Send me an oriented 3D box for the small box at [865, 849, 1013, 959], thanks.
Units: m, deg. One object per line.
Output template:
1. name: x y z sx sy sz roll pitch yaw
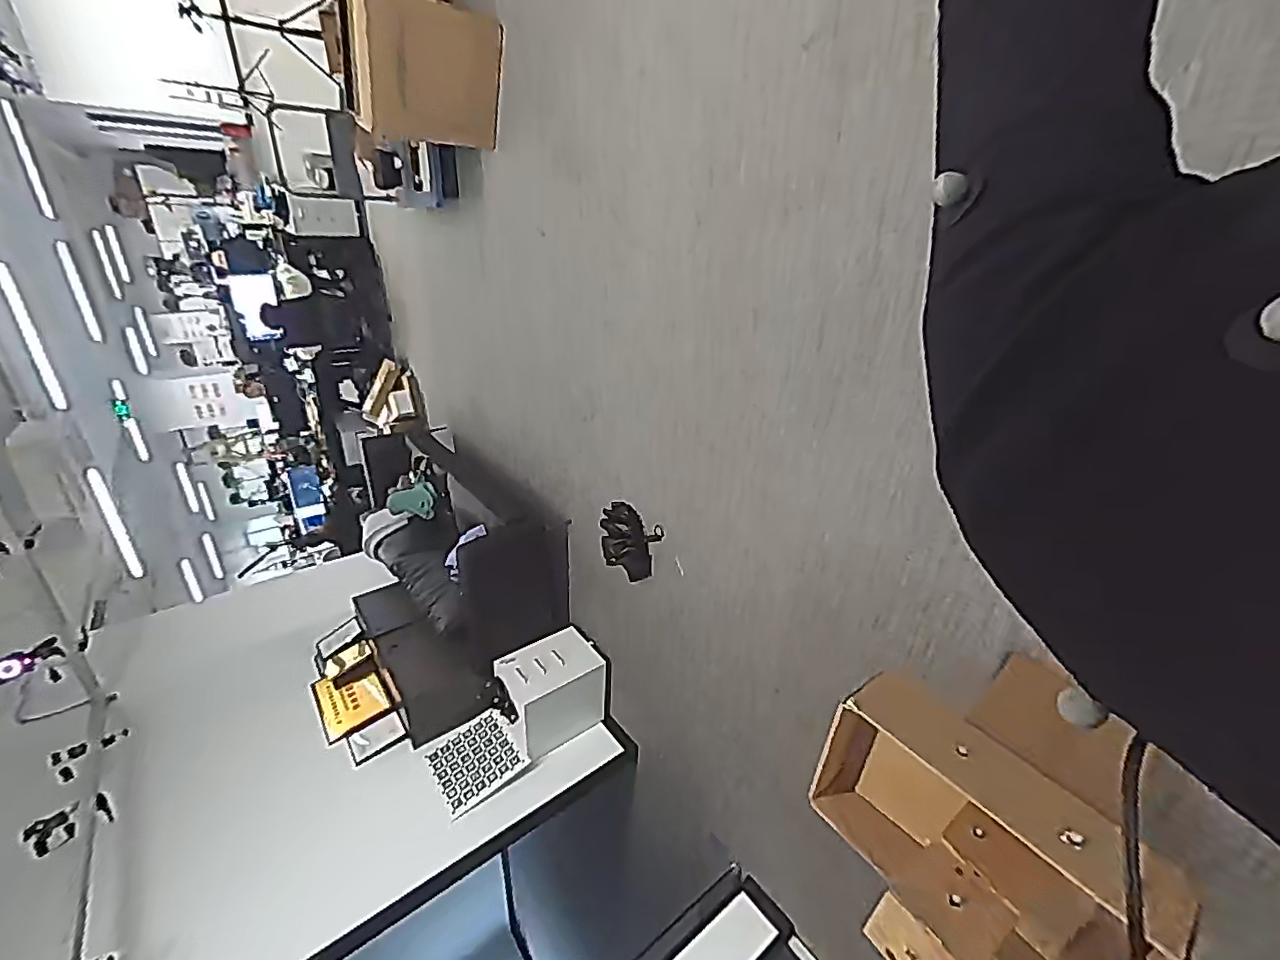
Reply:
1. small box: 0.573 0.861 1.035 0.168 0.176 0.179 38 132 44

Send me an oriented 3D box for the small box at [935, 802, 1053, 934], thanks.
1. small box: 0.708 0.815 1.116 0.168 0.176 0.179 39 135 44
